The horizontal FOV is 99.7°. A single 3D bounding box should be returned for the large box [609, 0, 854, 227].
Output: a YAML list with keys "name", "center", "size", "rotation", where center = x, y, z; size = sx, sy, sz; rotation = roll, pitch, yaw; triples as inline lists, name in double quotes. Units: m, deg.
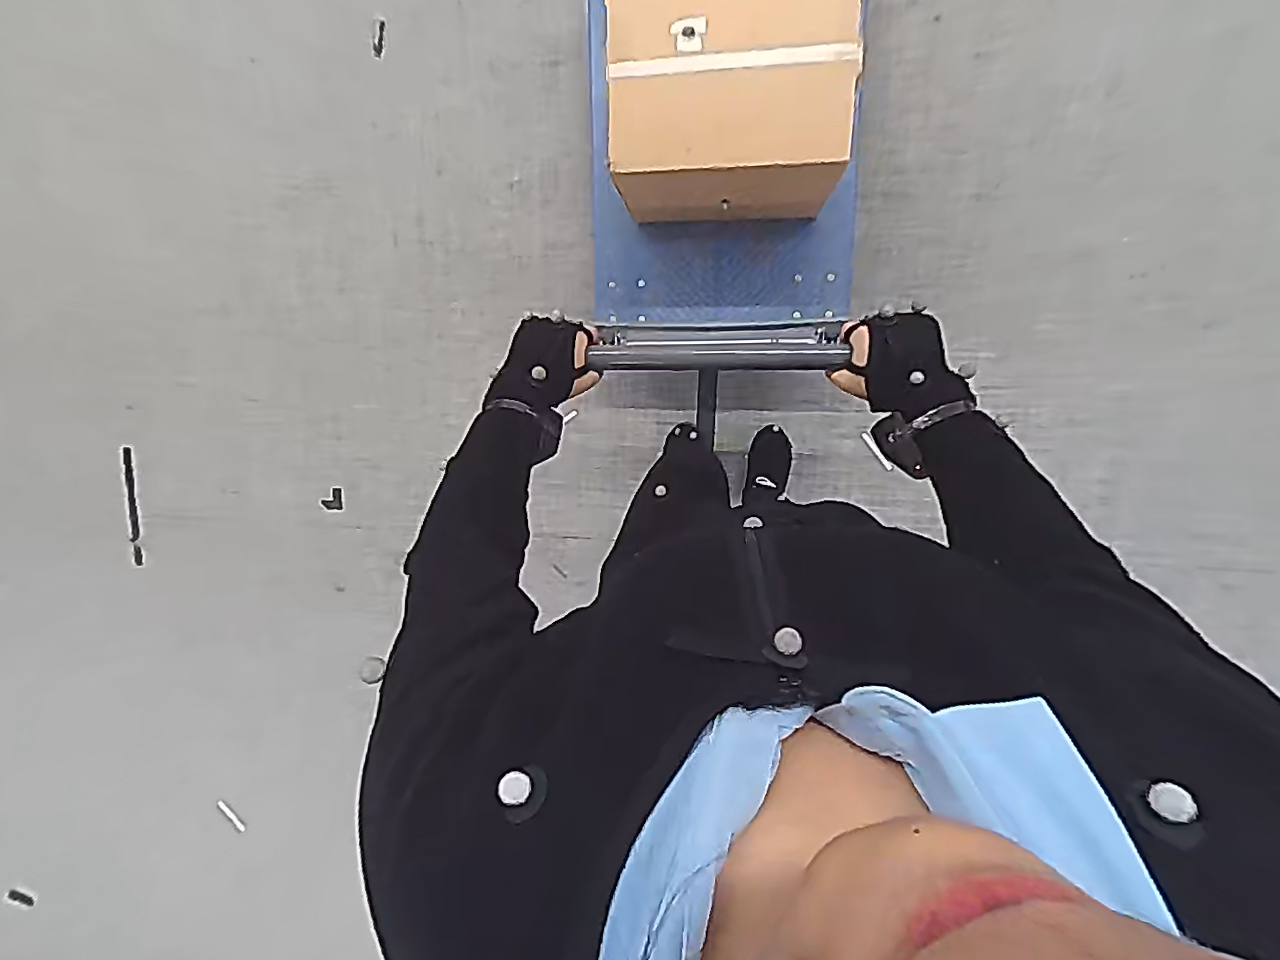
- name: "large box"
  center: [0.171, -0.702, 1.047]
  size: [0.408, 0.320, 0.320]
  rotation: [2, 99, 9]
